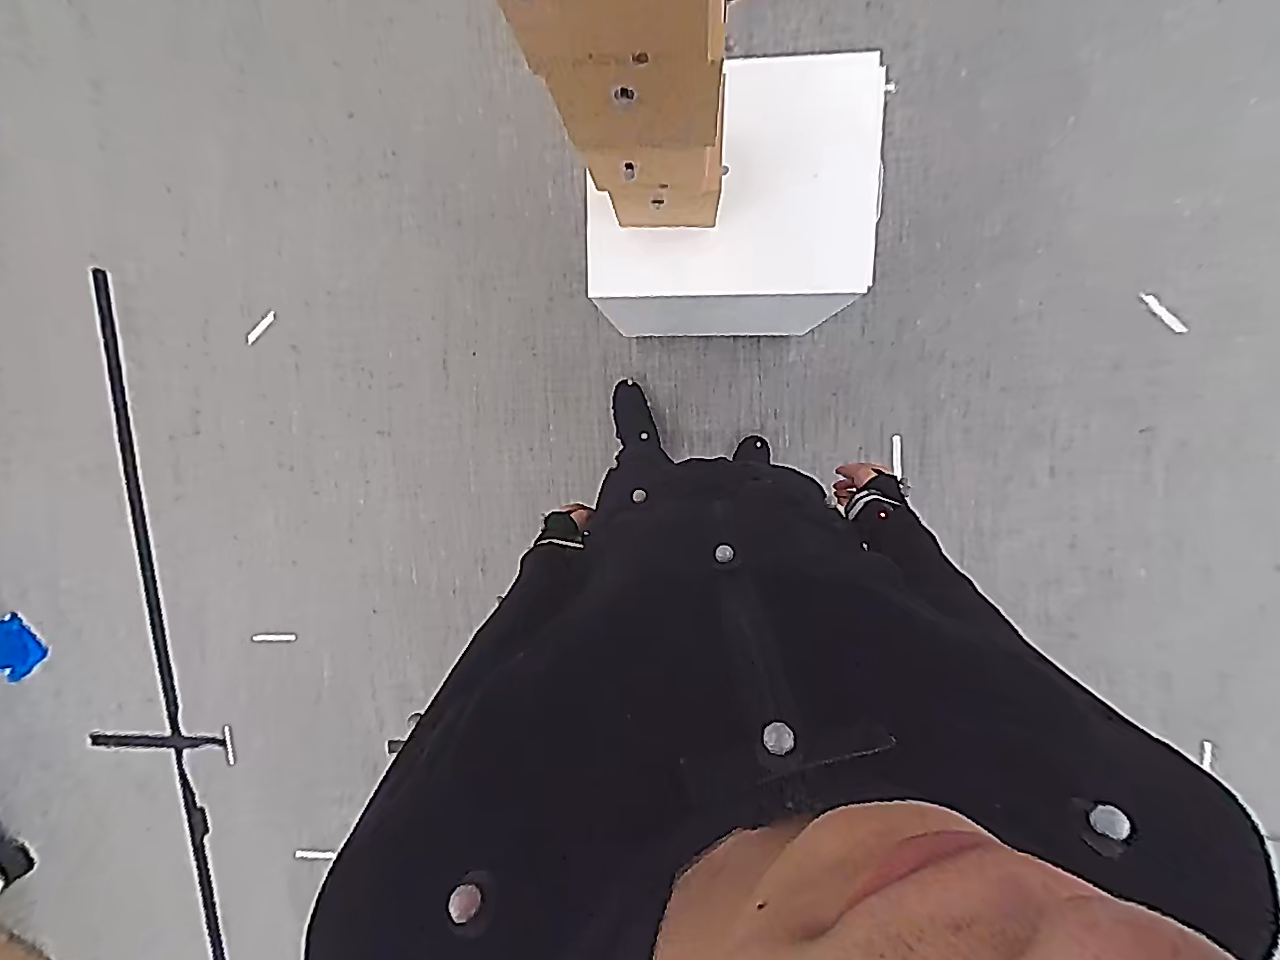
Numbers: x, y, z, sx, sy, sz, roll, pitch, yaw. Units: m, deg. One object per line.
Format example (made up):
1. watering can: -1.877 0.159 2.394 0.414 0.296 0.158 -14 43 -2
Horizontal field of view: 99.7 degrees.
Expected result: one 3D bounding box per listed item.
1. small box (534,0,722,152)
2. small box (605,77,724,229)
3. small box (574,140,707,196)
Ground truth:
1. small box: -0.004 -0.471 0.571 0.179 0.176 0.168 1 98 5
2. small box: 0.041 -0.525 0.891 0.179 0.176 0.168 2 98 4
3. small box: 0.010 -0.505 0.733 0.168 0.176 0.179 4 97 4
